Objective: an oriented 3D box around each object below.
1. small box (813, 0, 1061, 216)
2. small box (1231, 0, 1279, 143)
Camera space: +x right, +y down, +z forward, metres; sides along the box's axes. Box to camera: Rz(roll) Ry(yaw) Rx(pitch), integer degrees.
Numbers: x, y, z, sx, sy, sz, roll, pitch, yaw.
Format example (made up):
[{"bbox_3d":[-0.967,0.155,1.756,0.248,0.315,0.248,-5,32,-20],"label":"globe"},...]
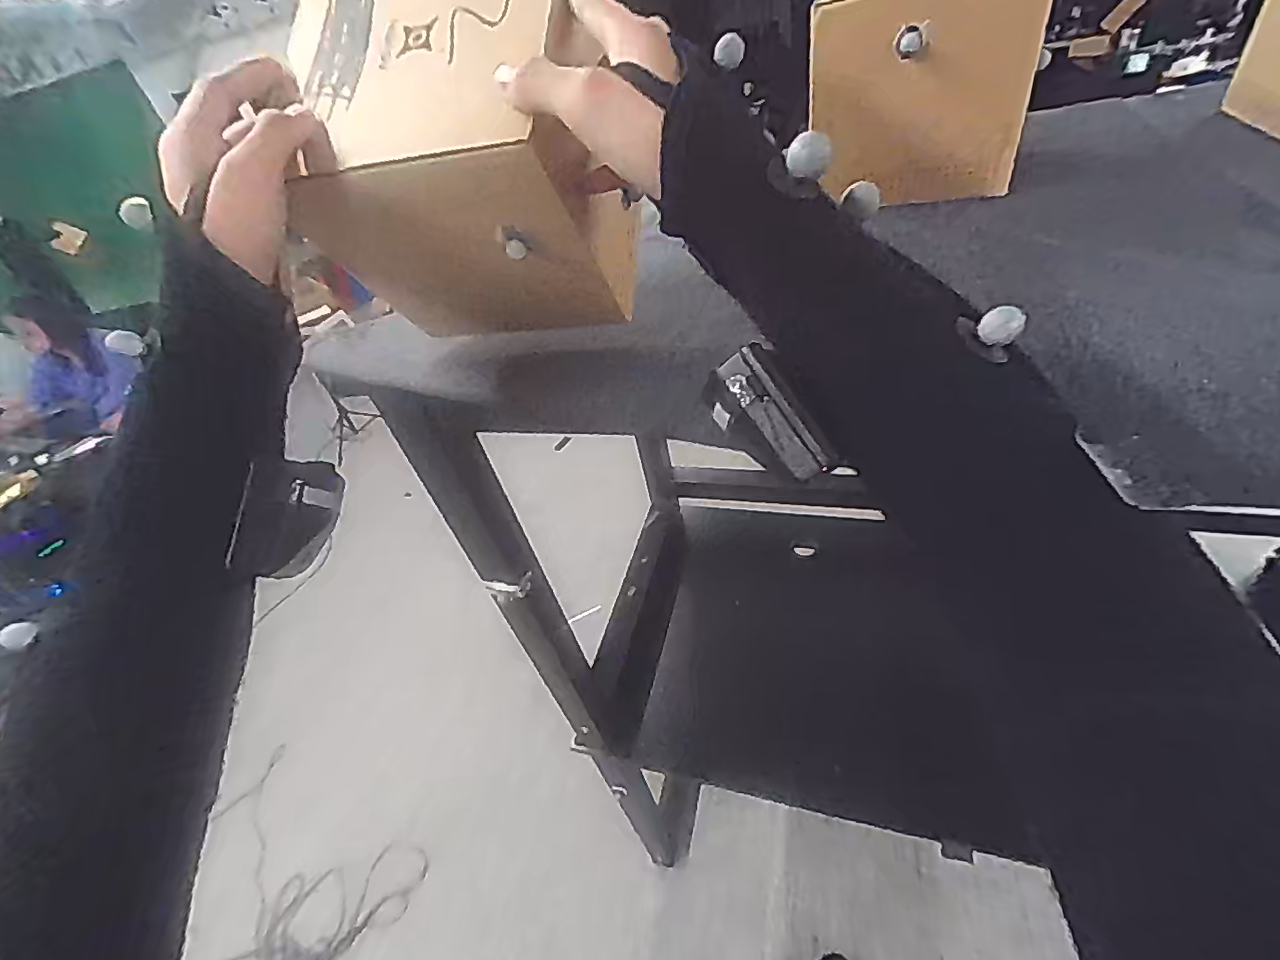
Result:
[{"bbox_3d":[0.269,-0.370,0.517,0.179,0.176,0.168,7,44,24],"label":"small box"},{"bbox_3d":[0.618,-0.362,0.405,0.168,0.176,0.179,6,43,22],"label":"small box"}]
